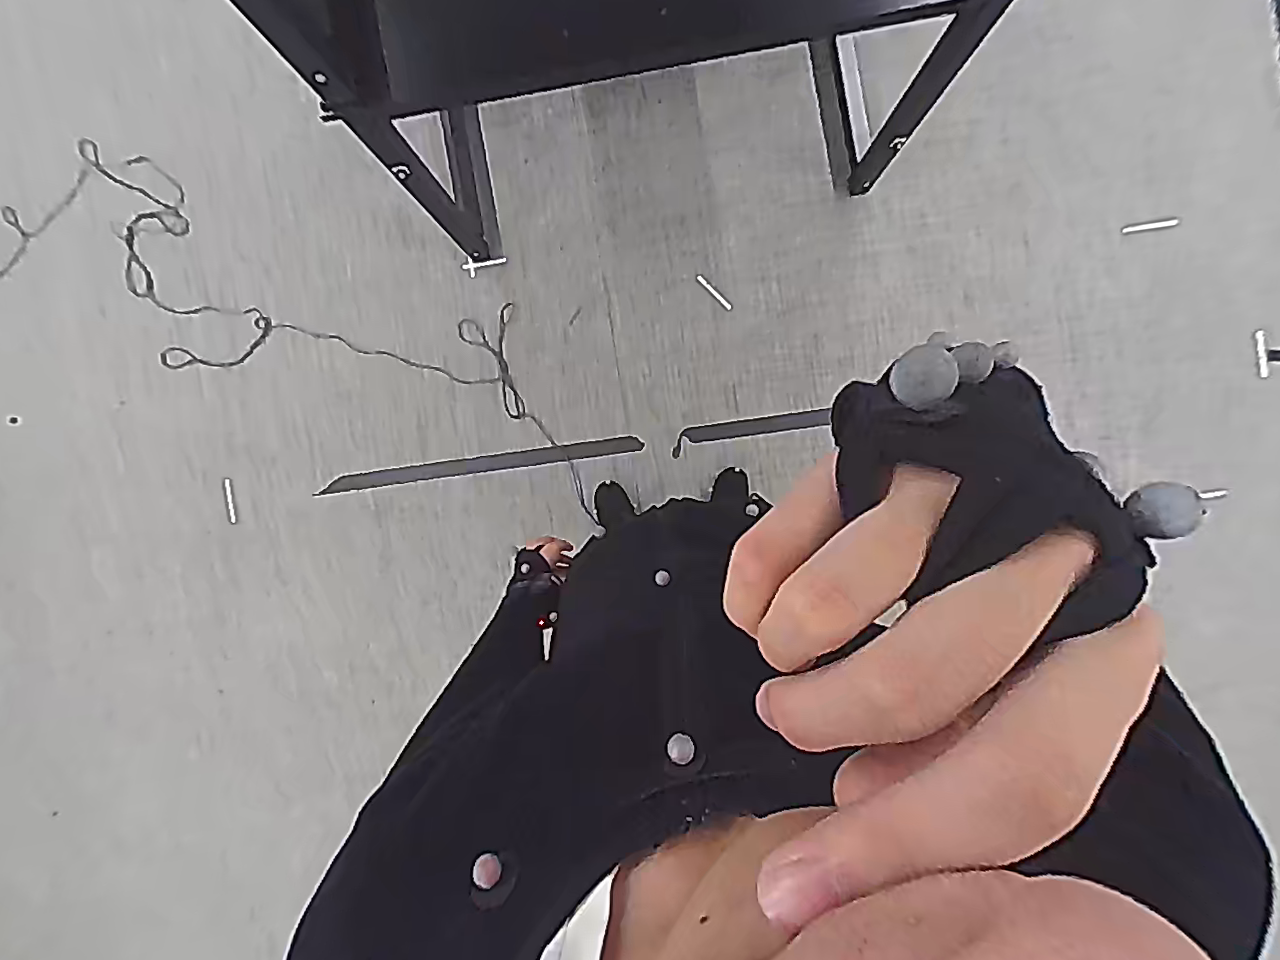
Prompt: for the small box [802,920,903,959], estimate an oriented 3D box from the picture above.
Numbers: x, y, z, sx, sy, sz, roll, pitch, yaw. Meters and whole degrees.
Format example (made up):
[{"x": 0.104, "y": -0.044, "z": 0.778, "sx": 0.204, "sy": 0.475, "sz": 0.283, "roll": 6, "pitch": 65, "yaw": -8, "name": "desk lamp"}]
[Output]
[{"x": 0.411, "y": 0.964, "z": 1.005, "sx": 0.168, "sy": 0.176, "sz": 0.179, "roll": -9, "pitch": 93, "yaw": 2, "name": "small box"}]
